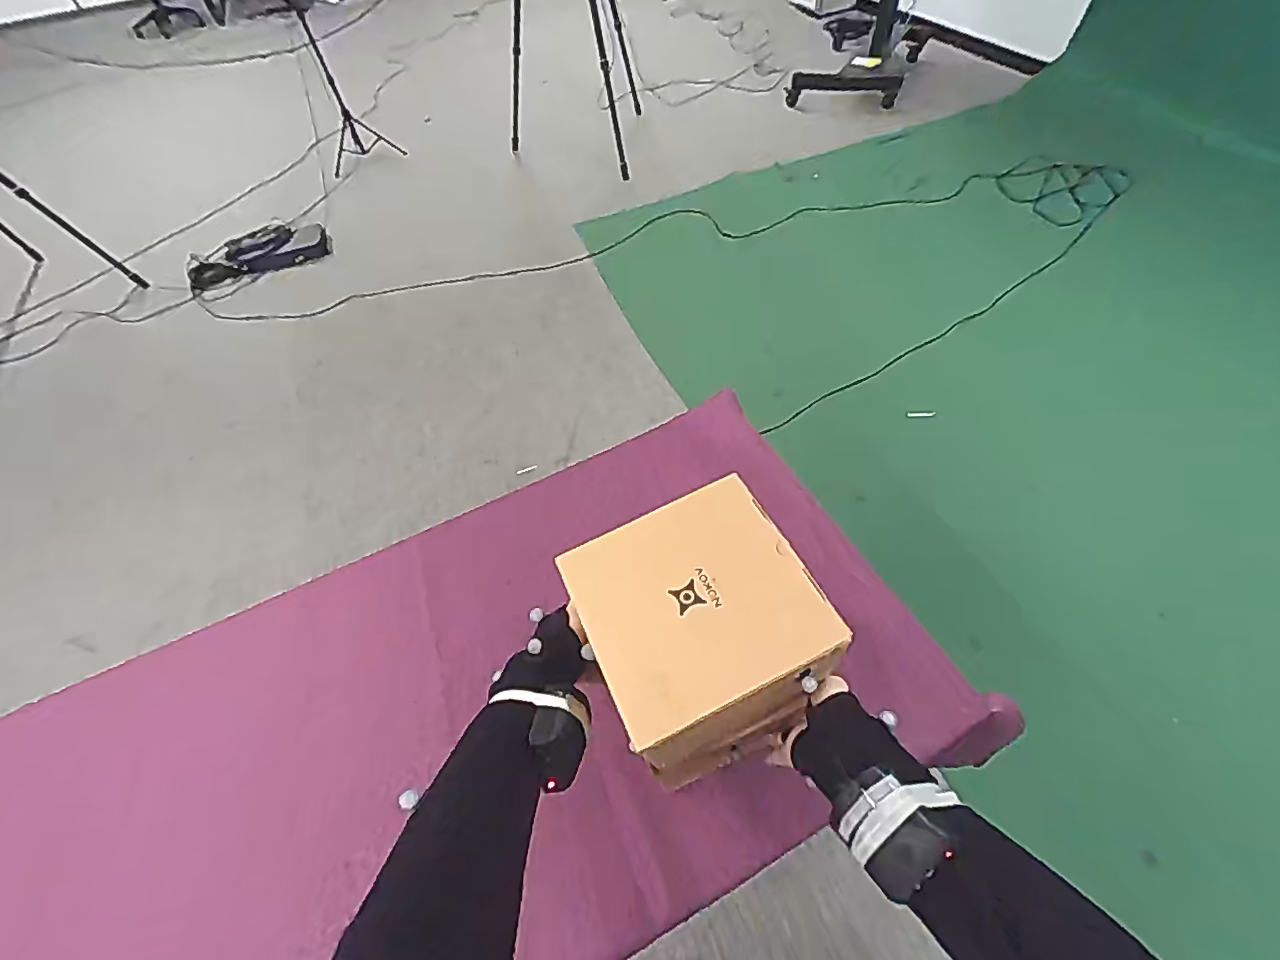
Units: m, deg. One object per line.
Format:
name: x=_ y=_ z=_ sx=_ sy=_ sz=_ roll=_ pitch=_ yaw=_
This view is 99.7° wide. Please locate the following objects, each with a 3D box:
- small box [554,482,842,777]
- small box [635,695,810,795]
small box: x=0.048 y=0.139 z=0.485 sx=0.179 sy=0.176 sz=0.168 roll=-25 pitch=56 yaw=-10
small box: x=0.068 y=0.236 z=0.617 sx=0.179 sy=0.176 sz=0.168 roll=-21 pitch=56 yaw=-7
